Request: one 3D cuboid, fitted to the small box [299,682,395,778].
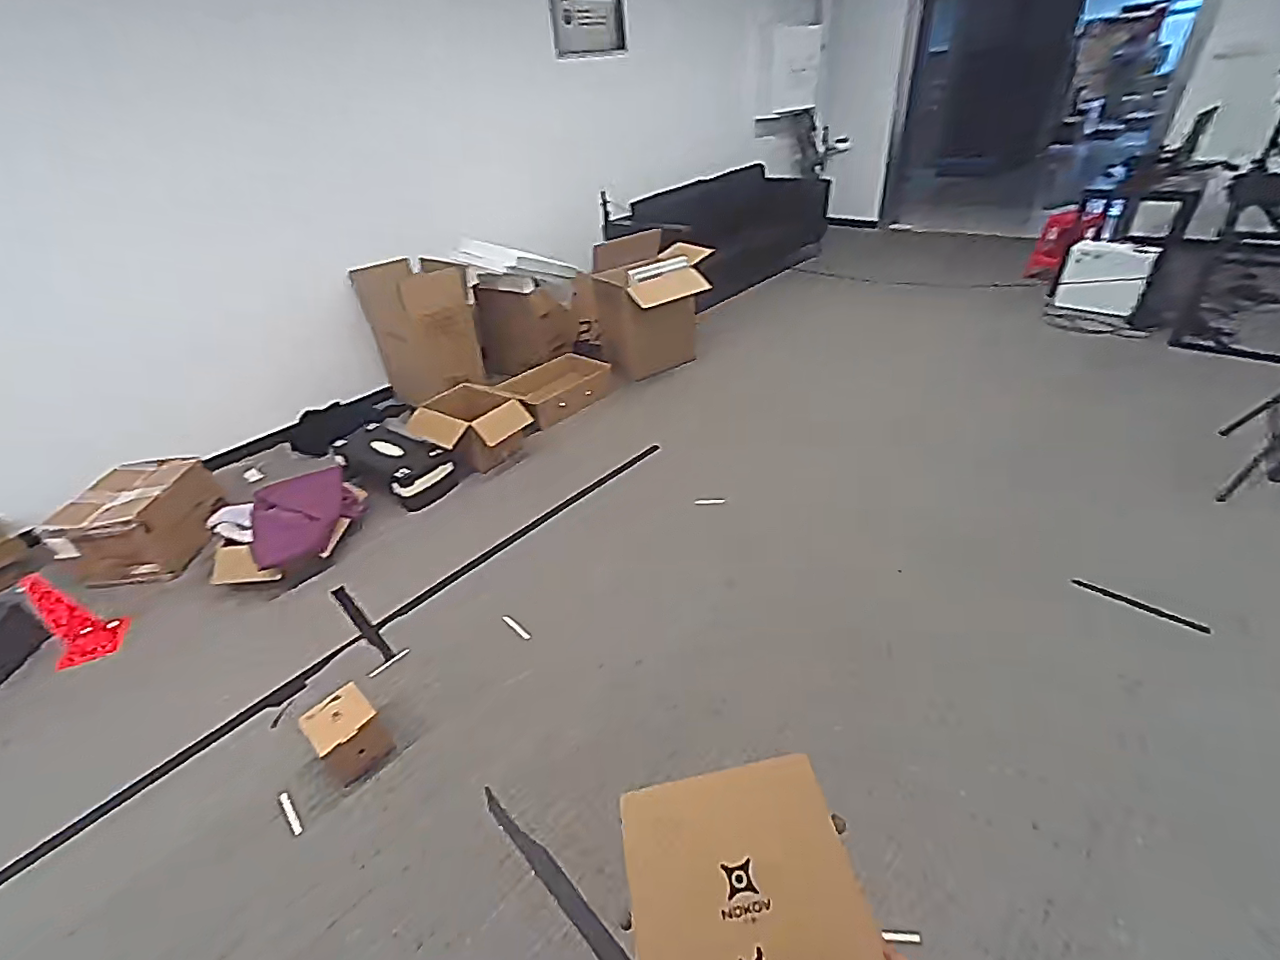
[{"bbox_3d":[-0.860,0.745,1.599,0.179,0.176,0.168,26,47,36],"label":"small box"}]

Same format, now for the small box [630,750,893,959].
[{"bbox_3d":[0.091,0.360,0.444,0.168,0.176,0.179,-12,38,0],"label":"small box"}]
